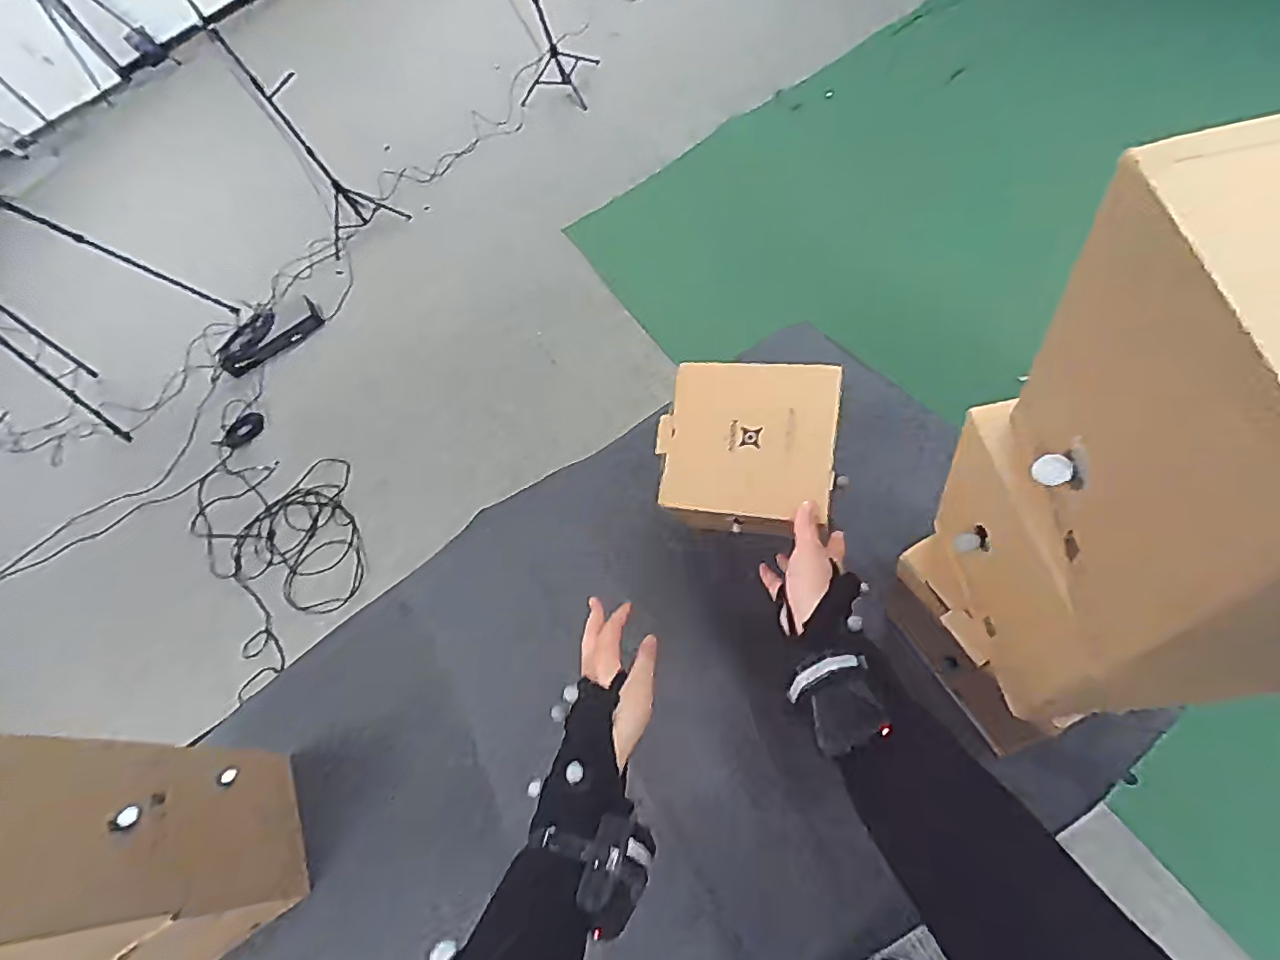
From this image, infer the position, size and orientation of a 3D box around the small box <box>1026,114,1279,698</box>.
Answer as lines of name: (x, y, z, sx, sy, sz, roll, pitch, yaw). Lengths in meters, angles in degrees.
small box: (0.284, -0.017, 0.201, 0.179, 0.176, 0.168, -3, 58, 18)

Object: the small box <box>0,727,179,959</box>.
small box: (-0.557, 0.345, 0.470, 0.179, 0.176, 0.168, -34, 58, -3)

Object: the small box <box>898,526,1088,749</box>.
small box: (0.360, 0.122, 0.491, 0.179, 0.176, 0.168, -30, 54, 1)

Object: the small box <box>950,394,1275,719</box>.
small box: (0.322, 0.049, 0.349, 0.179, 0.176, 0.168, -12, 56, 12)
